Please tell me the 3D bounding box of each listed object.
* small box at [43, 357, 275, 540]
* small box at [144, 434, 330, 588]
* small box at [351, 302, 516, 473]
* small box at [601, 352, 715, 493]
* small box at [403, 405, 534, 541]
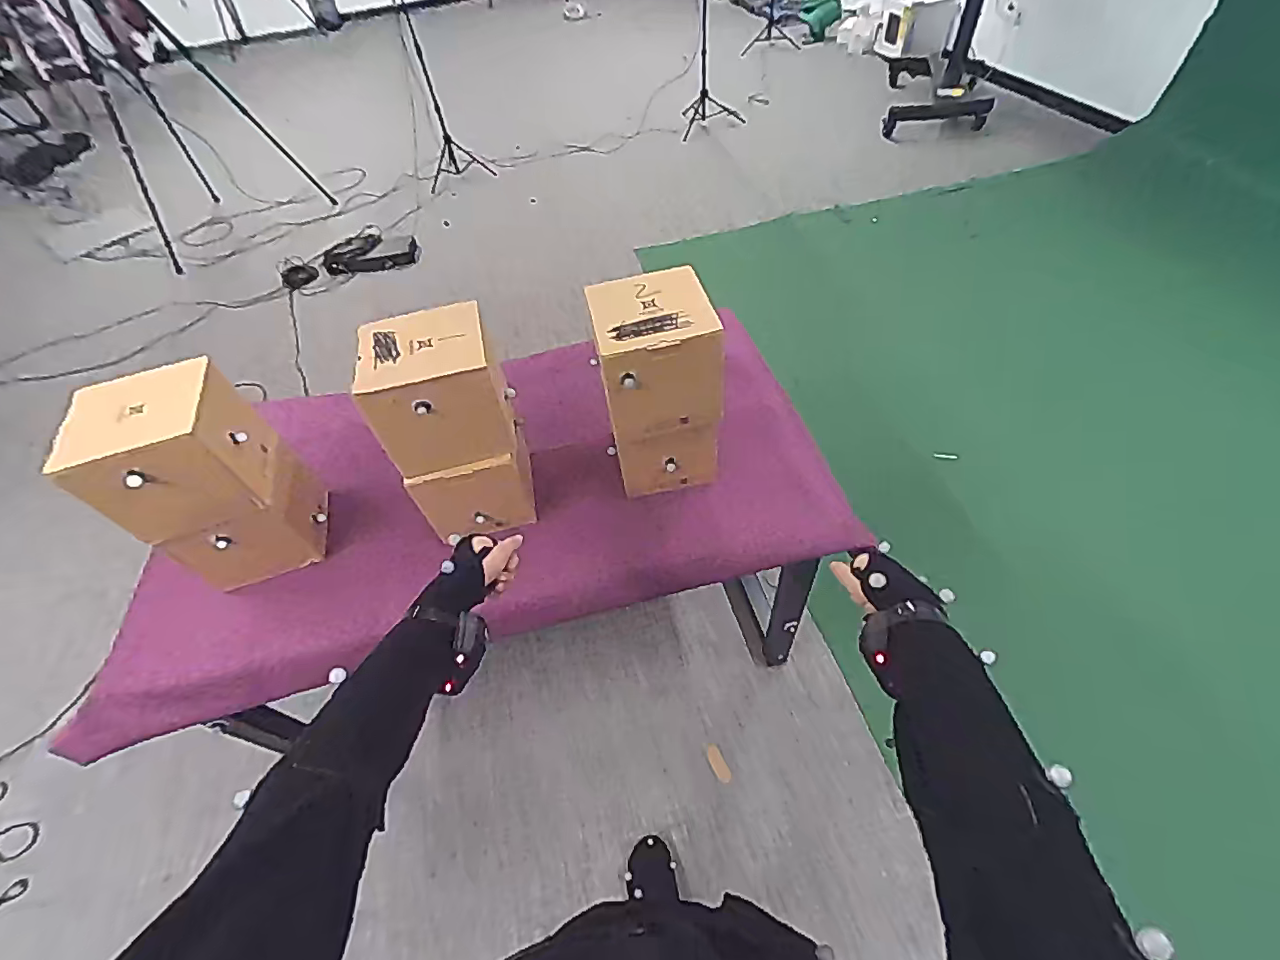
[{"bbox_3d":[-0.661,-0.042,0.774,0.179,0.176,0.168,-19,53,-8],"label":"small box"},{"bbox_3d":[-0.654,0.057,0.903,0.179,0.176,0.168,-17,52,-8],"label":"small box"},{"bbox_3d":[-0.297,-0.133,0.805,0.179,0.176,0.168,-14,51,-6],"label":"small box"},{"bbox_3d":[0.033,-0.093,0.949,0.168,0.176,0.179,-11,51,-2],"label":"small box"},{"bbox_3d":[-0.285,-0.022,0.926,0.168,0.176,0.179,-12,51,-3],"label":"small box"}]
